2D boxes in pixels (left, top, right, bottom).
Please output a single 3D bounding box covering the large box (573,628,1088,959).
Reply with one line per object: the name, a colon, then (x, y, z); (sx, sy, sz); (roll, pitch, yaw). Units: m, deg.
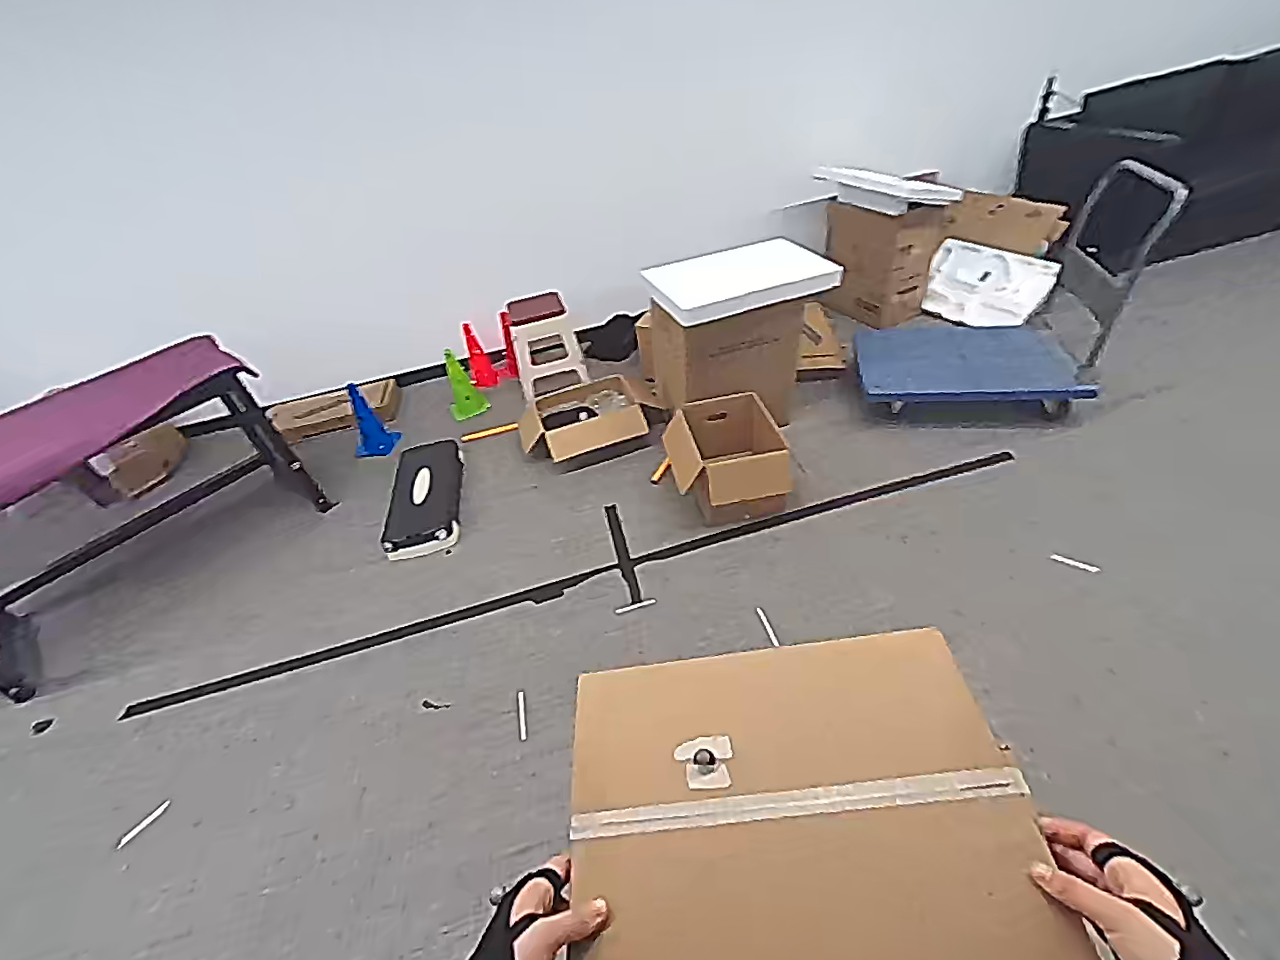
large box: (0.165, 0.410, 0.610); (0.408, 0.320, 0.320); (-12, 42, 7)
